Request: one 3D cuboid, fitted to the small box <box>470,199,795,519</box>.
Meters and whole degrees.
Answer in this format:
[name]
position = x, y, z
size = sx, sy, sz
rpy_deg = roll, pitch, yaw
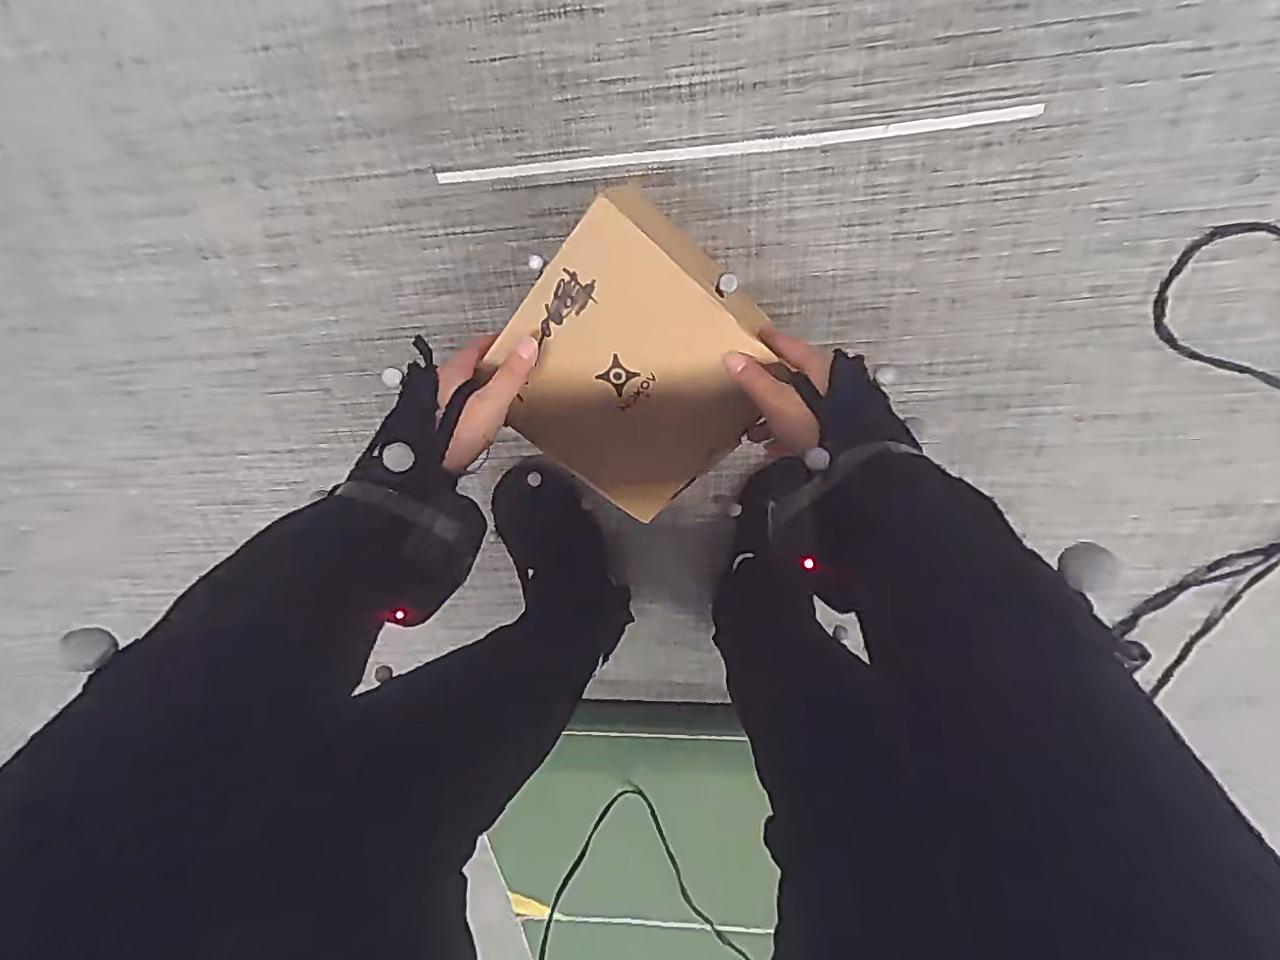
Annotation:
[small box]
position = -0.002, -0.108, 0.450
size = 0.179, 0.176, 0.168
rpy_deg = 37, 116, -17
